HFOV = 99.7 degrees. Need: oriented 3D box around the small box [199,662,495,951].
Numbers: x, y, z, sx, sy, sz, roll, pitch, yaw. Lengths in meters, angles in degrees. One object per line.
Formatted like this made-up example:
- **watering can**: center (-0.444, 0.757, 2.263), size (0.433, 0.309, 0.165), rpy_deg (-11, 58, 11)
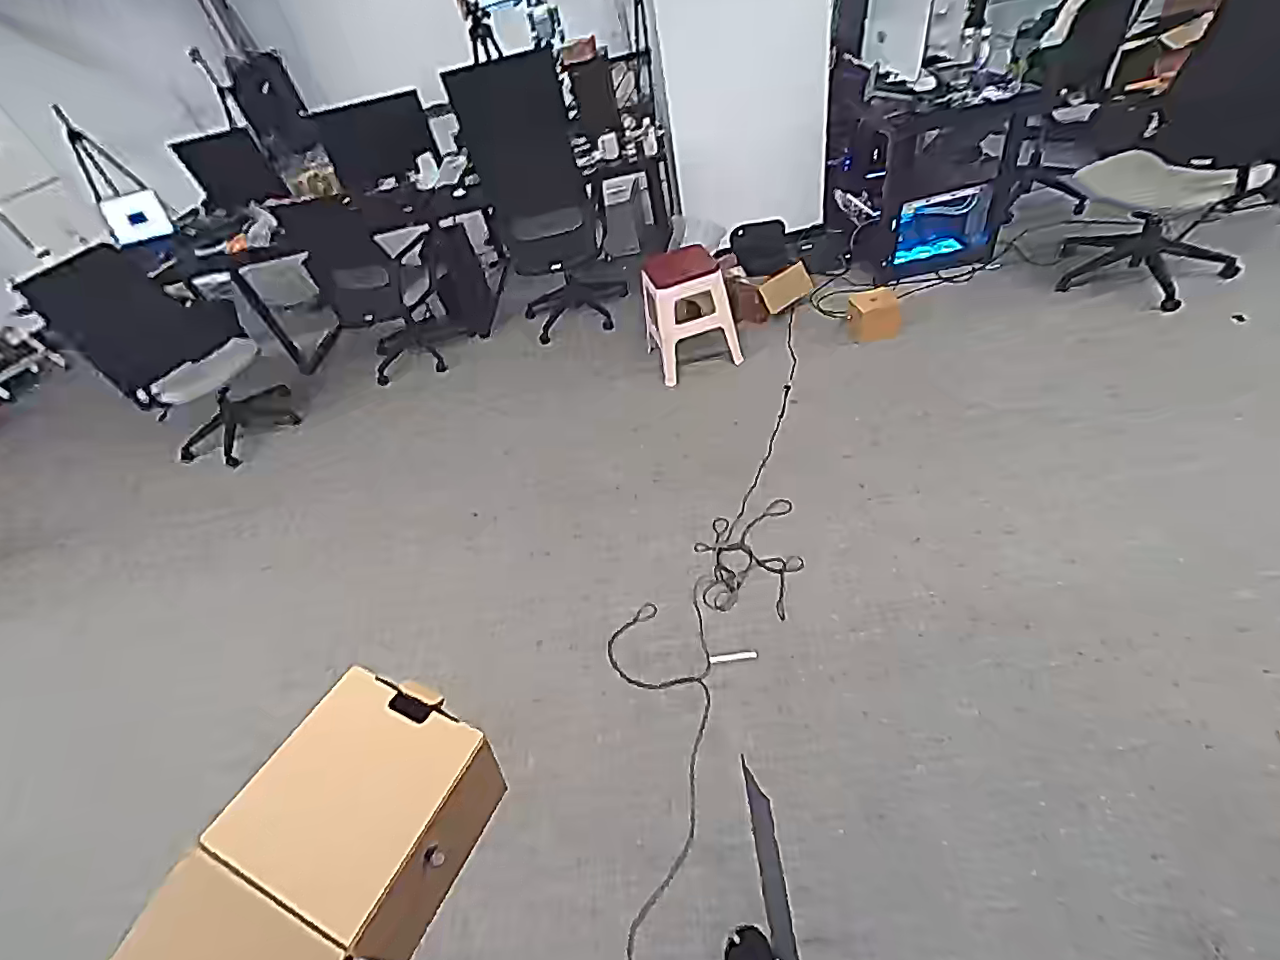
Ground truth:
- **small box**: center (-0.265, 0.325, 0.541), size (0.168, 0.176, 0.179), rpy_deg (20, 47, 15)
